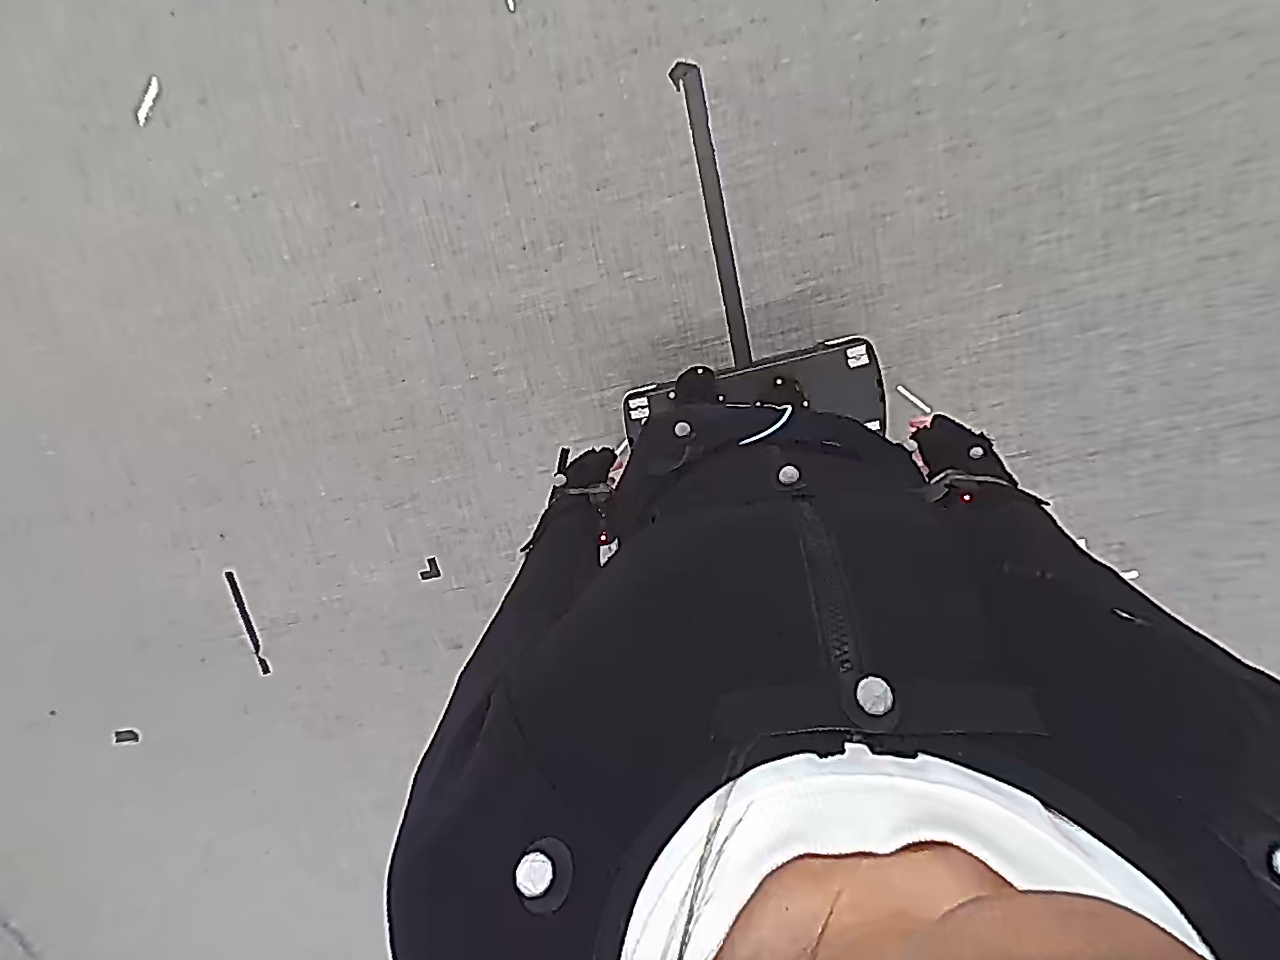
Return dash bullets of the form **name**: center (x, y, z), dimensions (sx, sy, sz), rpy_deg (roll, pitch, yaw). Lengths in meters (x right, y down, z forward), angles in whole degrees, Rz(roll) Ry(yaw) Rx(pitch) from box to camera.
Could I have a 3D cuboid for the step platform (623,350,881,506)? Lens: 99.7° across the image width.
- **step platform**: center (0.297, -0.142, 1.504), dimensions (0.684, 0.204, 0.286), rpy_deg (-14, 101, 7)
